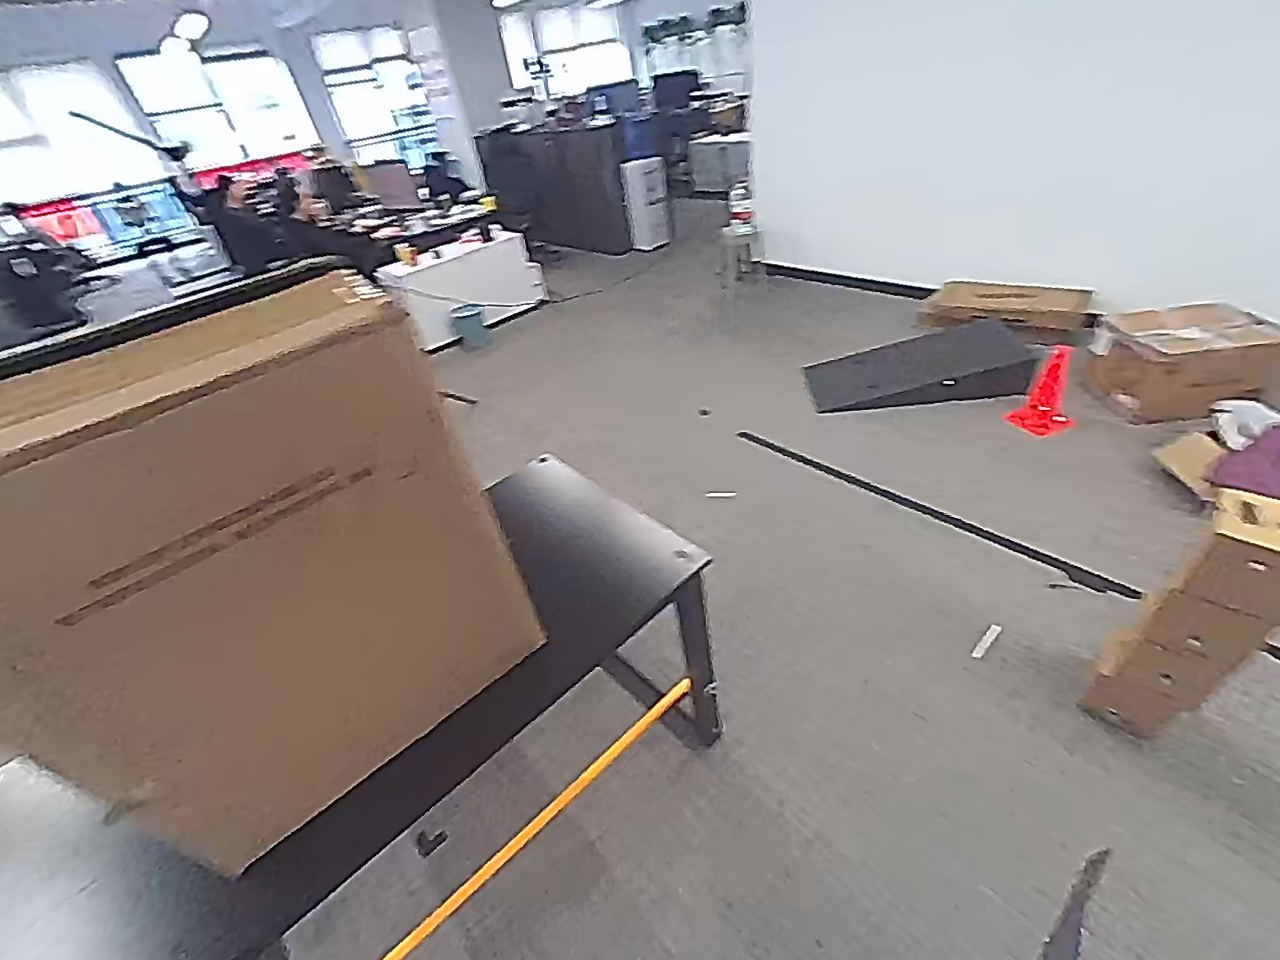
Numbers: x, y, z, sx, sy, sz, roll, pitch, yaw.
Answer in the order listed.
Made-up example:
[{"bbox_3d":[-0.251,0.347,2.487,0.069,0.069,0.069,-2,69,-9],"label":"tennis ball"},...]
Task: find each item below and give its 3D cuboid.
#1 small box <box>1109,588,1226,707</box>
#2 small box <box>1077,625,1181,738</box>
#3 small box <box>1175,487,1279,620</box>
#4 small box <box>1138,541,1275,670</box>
[{"bbox_3d":[1.257,0.400,1.288,0.168,0.176,0.179,23,49,36],"label":"small box"},{"bbox_3d":[1.270,0.520,1.400,0.168,0.176,0.179,23,50,37],"label":"small box"},{"bbox_3d":[1.223,0.147,1.078,0.179,0.176,0.168,25,50,36],"label":"small box"},{"bbox_3d":[1.241,0.272,1.184,0.179,0.176,0.168,-36,43,-29],"label":"small box"}]
